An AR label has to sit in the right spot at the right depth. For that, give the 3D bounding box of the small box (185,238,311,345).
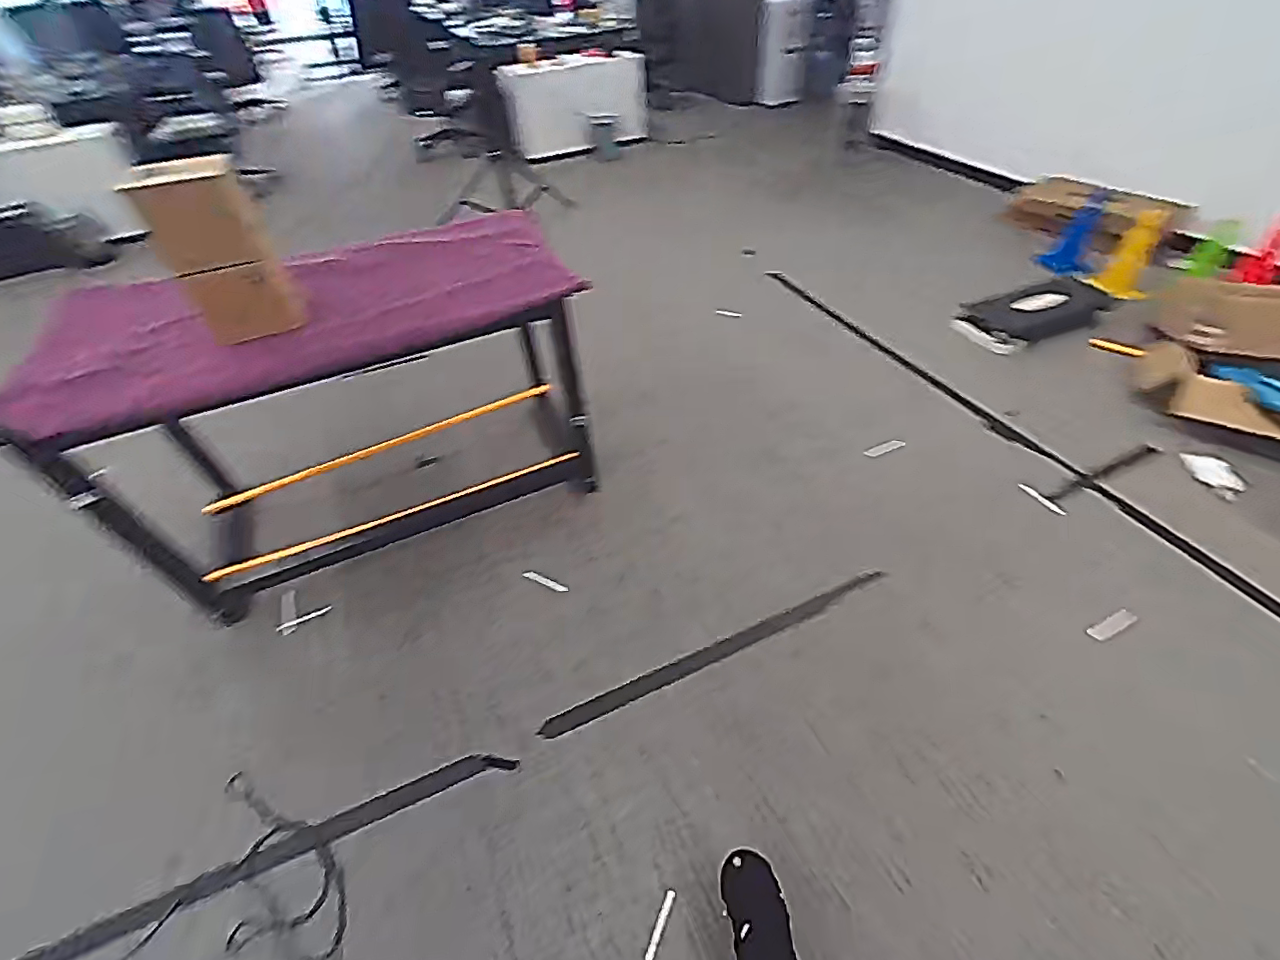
[{"bbox_3d":[-0.903,-0.438,1.264,0.179,0.176,0.168,-19,47,-15],"label":"small box"}]
